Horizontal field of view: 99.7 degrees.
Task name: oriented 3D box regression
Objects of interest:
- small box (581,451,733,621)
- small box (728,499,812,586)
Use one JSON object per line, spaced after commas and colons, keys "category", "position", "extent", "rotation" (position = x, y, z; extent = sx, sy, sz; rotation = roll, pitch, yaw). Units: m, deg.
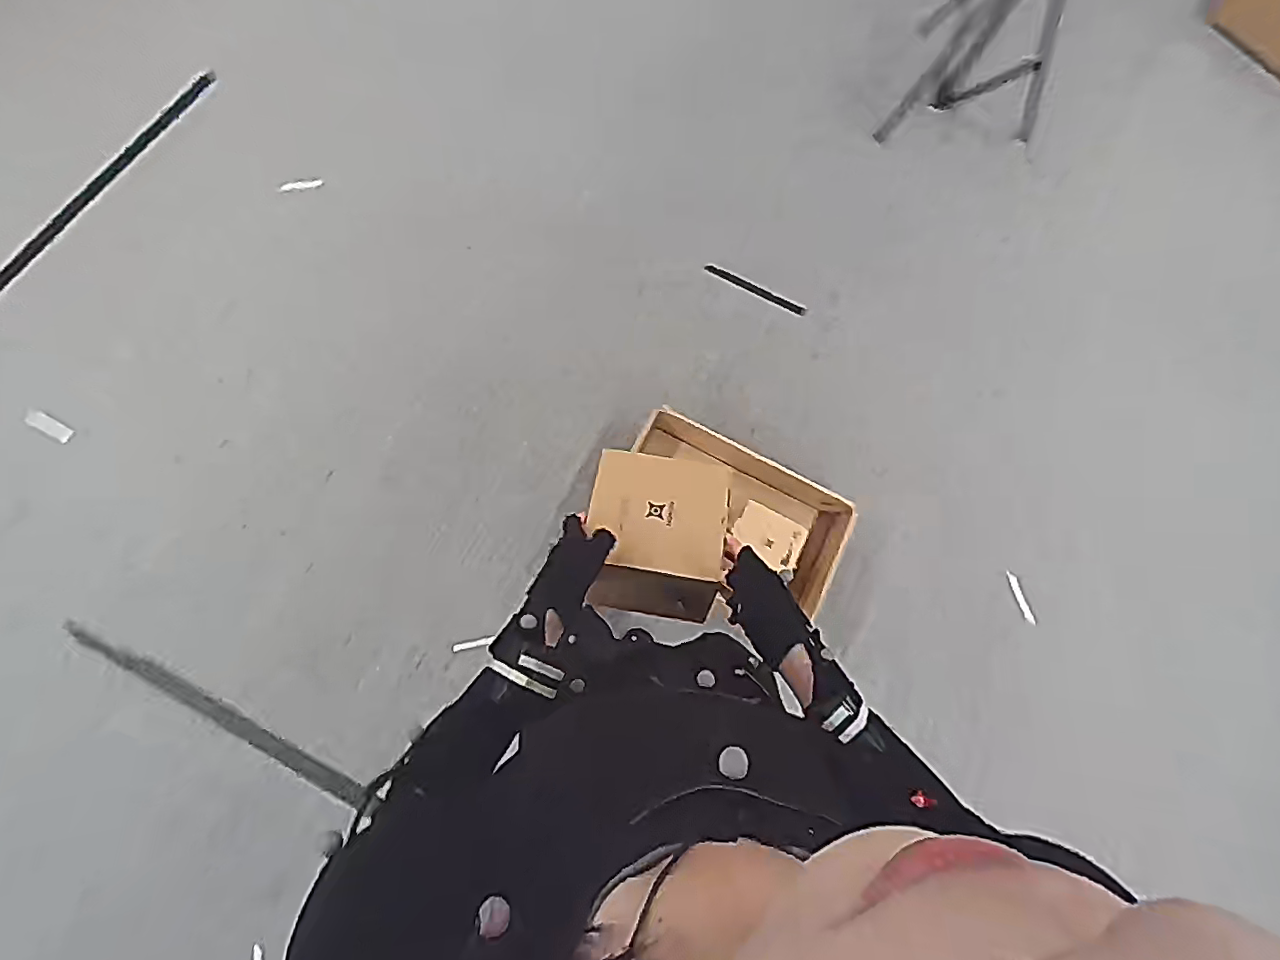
{"category": "small box", "position": [0.025, 0.083, 0.742], "extent": [0.179, 0.176, 0.168], "rotation": [7, 57, 4]}
{"category": "small box", "position": [0.328, 0.176, 1.457], "extent": [0.179, 0.176, 0.168], "rotation": [28, 76, 5]}
